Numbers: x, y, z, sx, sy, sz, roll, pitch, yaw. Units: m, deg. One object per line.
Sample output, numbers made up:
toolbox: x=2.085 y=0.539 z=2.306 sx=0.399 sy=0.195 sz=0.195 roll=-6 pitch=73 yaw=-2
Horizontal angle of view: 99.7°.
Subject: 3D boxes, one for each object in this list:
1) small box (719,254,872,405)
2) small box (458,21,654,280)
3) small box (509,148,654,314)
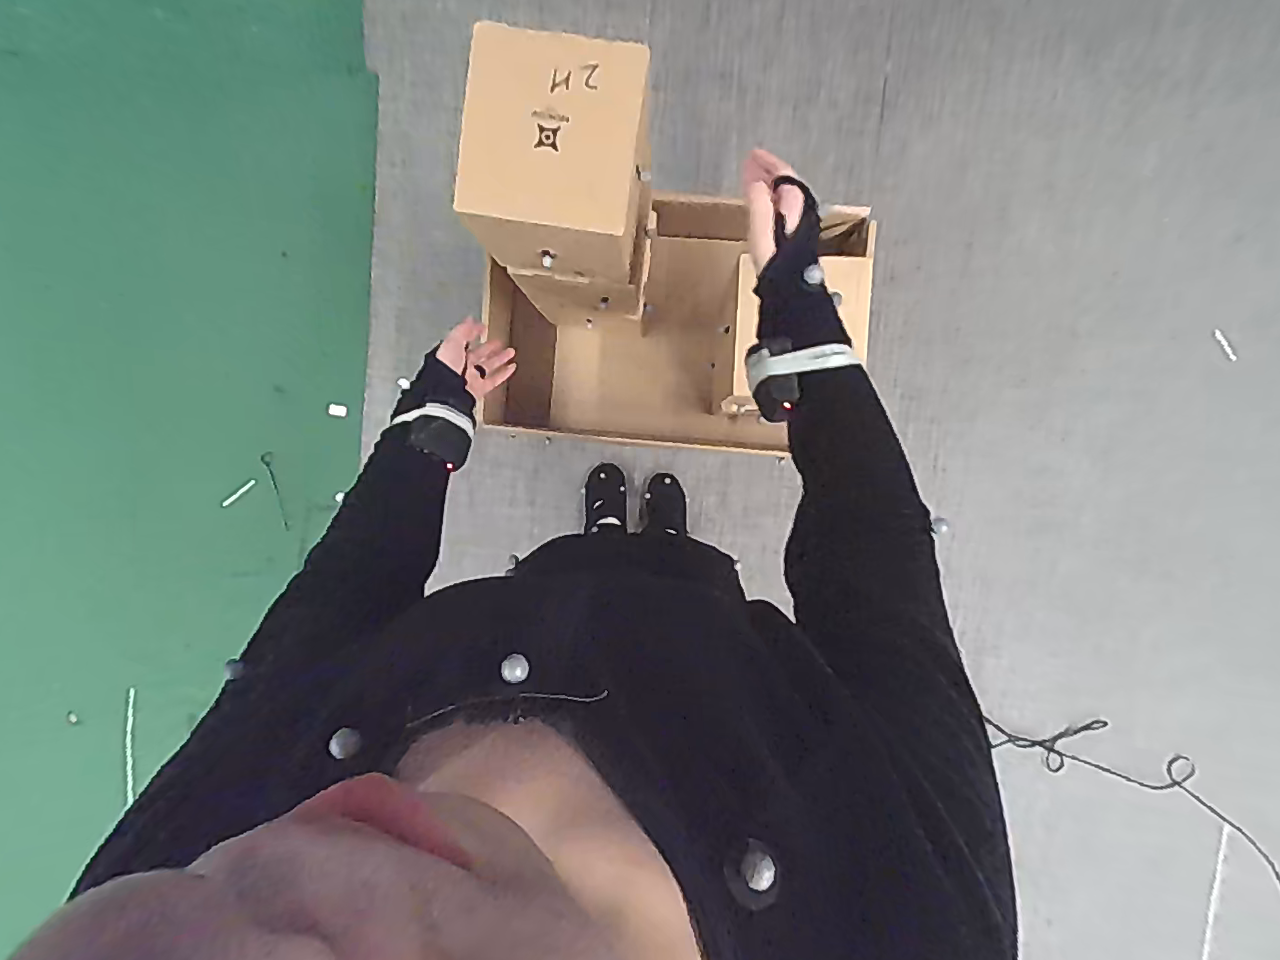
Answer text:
small box: x=0.204 y=-0.197 z=0.755 sx=0.168 sy=0.176 sz=0.179 roll=3 pitch=95 yaw=1
small box: x=-0.081 y=-0.335 z=0.590 sx=0.168 sy=0.176 sz=0.179 roll=10 pitch=95 yaw=-2
small box: x=-0.073 y=-0.343 z=0.753 sx=0.168 sy=0.176 sz=0.179 roll=8 pitch=94 yaw=-1
